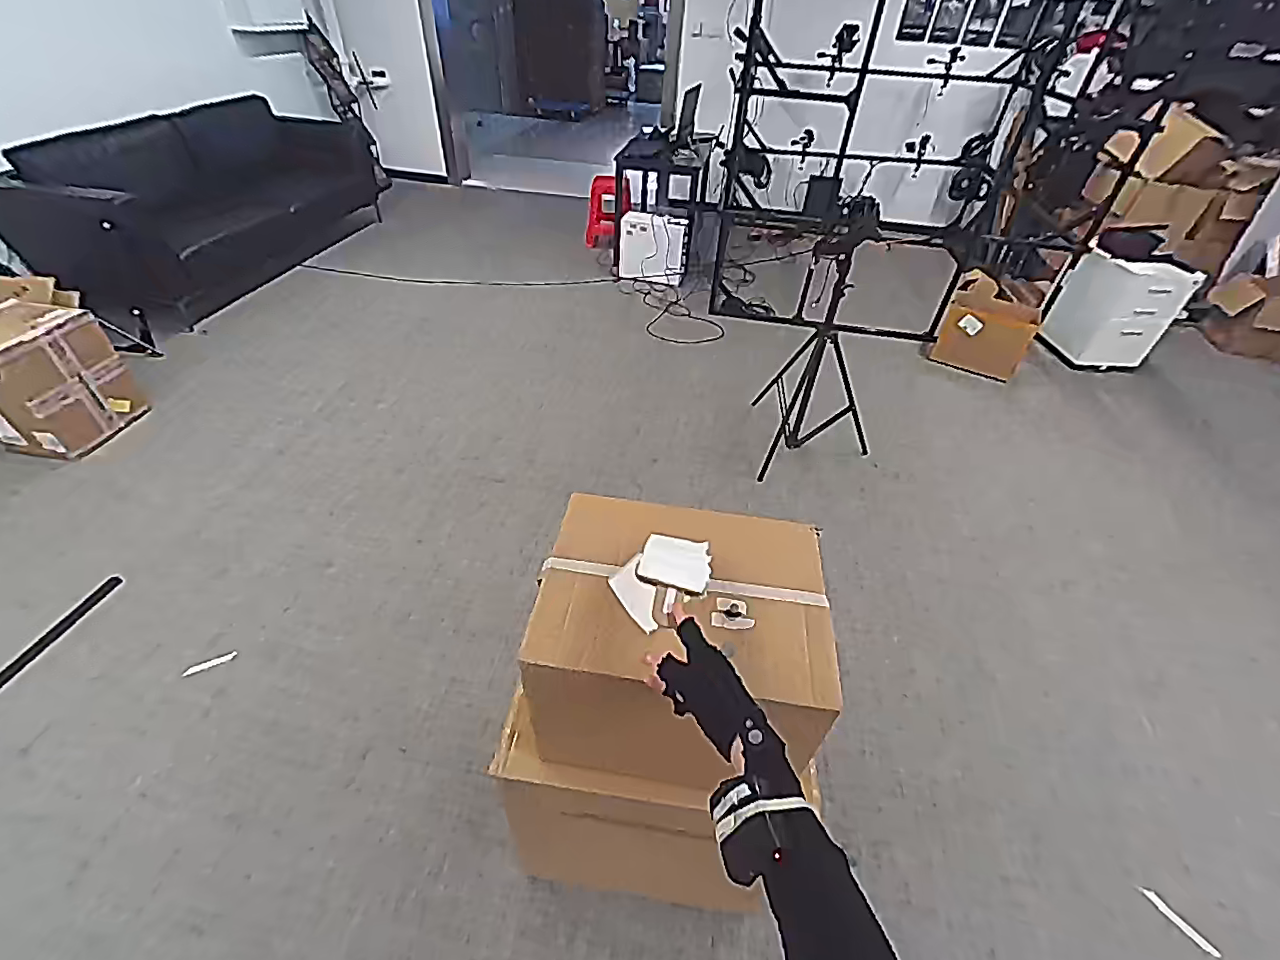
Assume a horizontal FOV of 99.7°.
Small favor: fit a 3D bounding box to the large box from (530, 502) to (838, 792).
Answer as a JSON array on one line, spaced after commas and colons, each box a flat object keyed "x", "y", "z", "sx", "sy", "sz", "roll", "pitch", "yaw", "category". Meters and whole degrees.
[{"x": 0.059, "y": 0.271, "z": 0.892, "sx": 0.408, "sy": 0.320, "sz": 0.320, "roll": 8, "pitch": 42, "yaw": 3, "category": "large box"}]
